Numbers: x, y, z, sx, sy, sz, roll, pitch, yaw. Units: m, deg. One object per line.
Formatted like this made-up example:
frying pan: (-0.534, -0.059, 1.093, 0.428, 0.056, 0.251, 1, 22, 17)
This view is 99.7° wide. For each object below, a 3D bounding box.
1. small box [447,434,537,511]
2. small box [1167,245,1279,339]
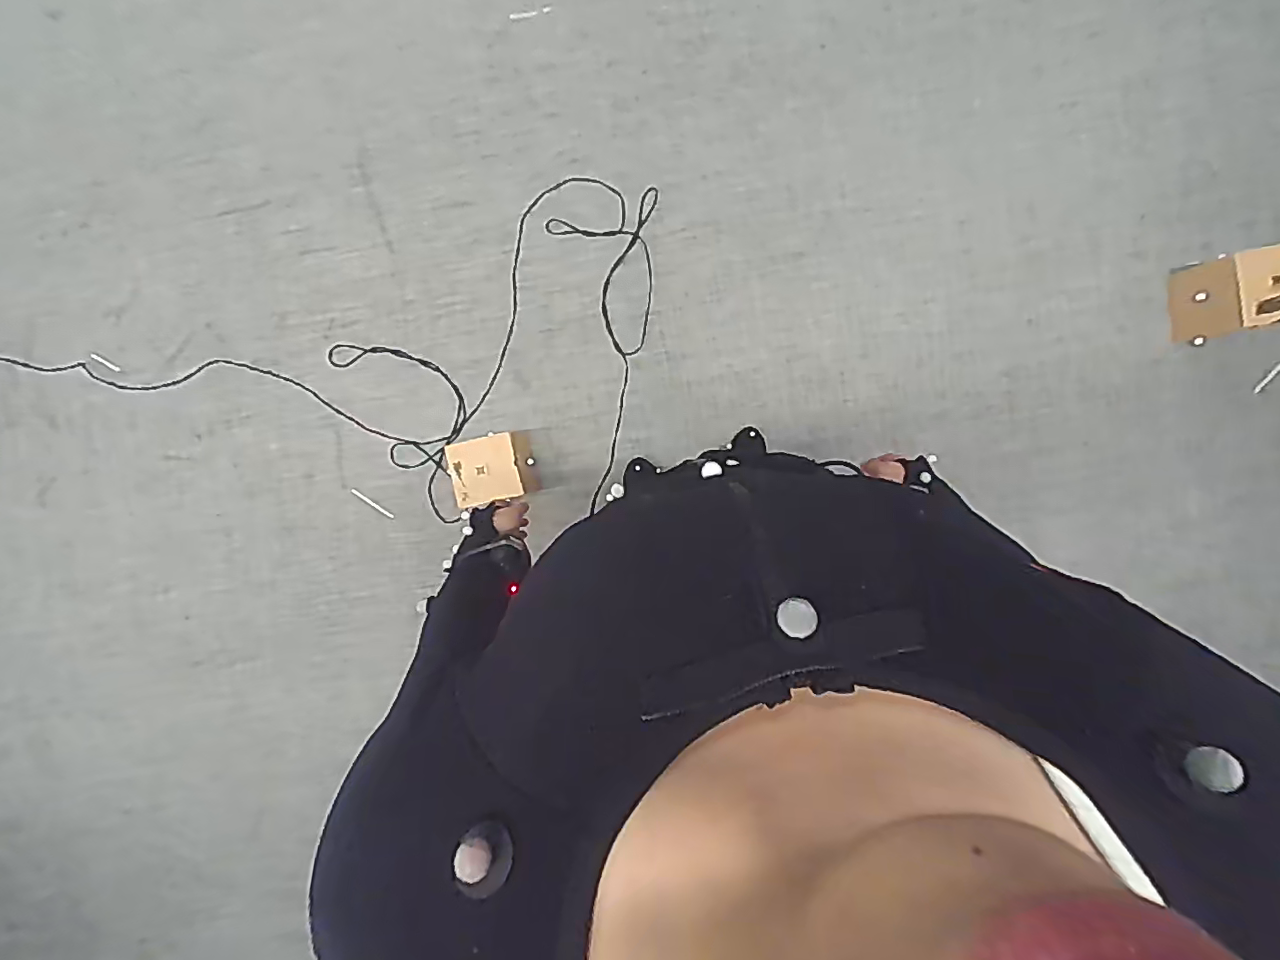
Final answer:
small box: (-0.380, -0.024, 1.431, 0.179, 0.176, 0.168, -13, 92, 3)
small box: (1.443, -0.450, 1.313, 0.168, 0.176, 0.179, -9, 92, 4)
